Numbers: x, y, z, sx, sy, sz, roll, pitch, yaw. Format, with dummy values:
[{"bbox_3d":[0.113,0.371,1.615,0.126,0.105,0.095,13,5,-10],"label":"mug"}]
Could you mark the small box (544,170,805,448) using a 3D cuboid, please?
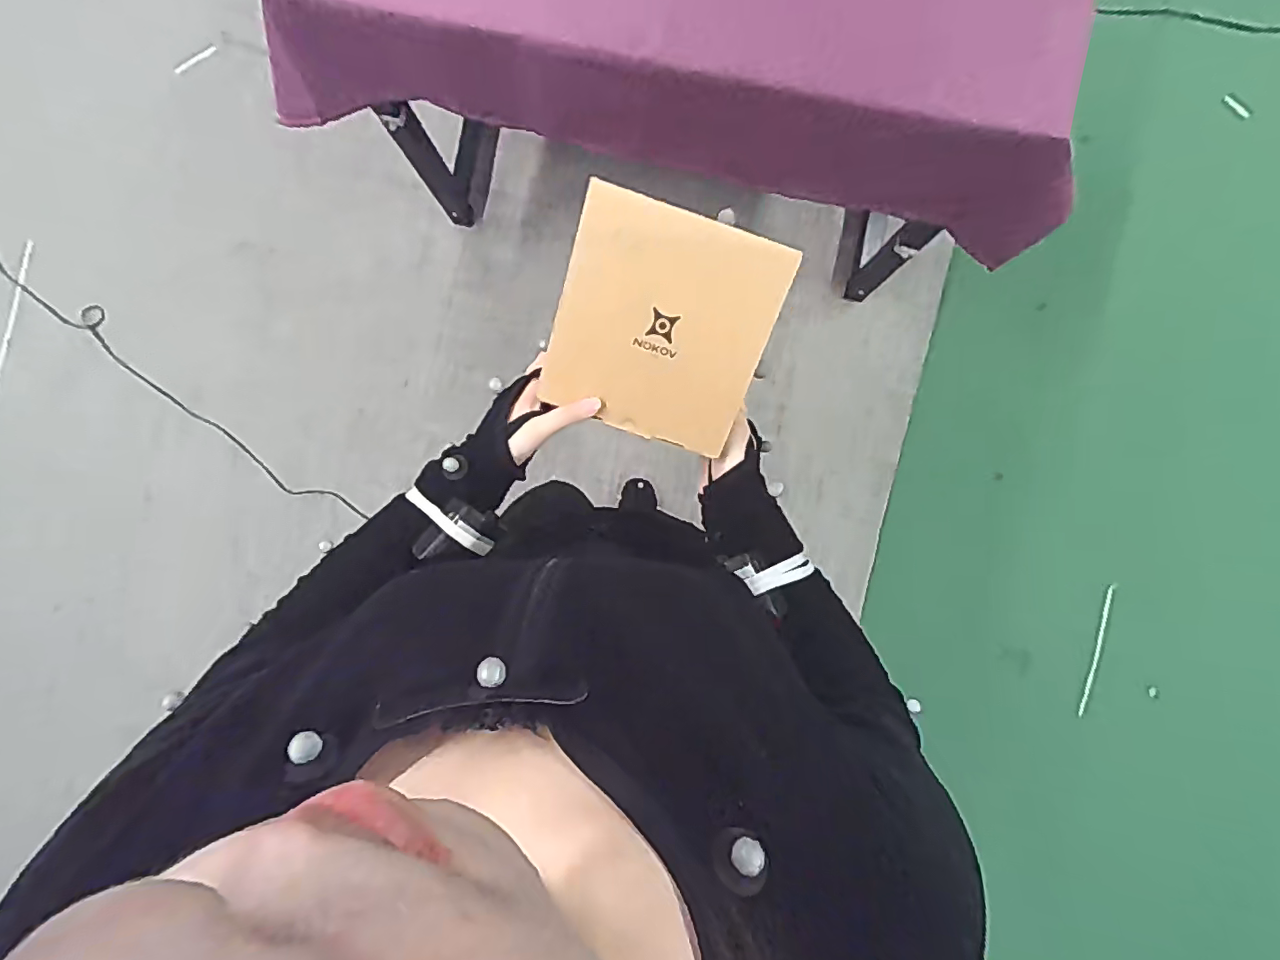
[{"bbox_3d":[0.026,-0.158,0.497,0.168,0.176,0.179,17,116,-3],"label":"small box"}]
